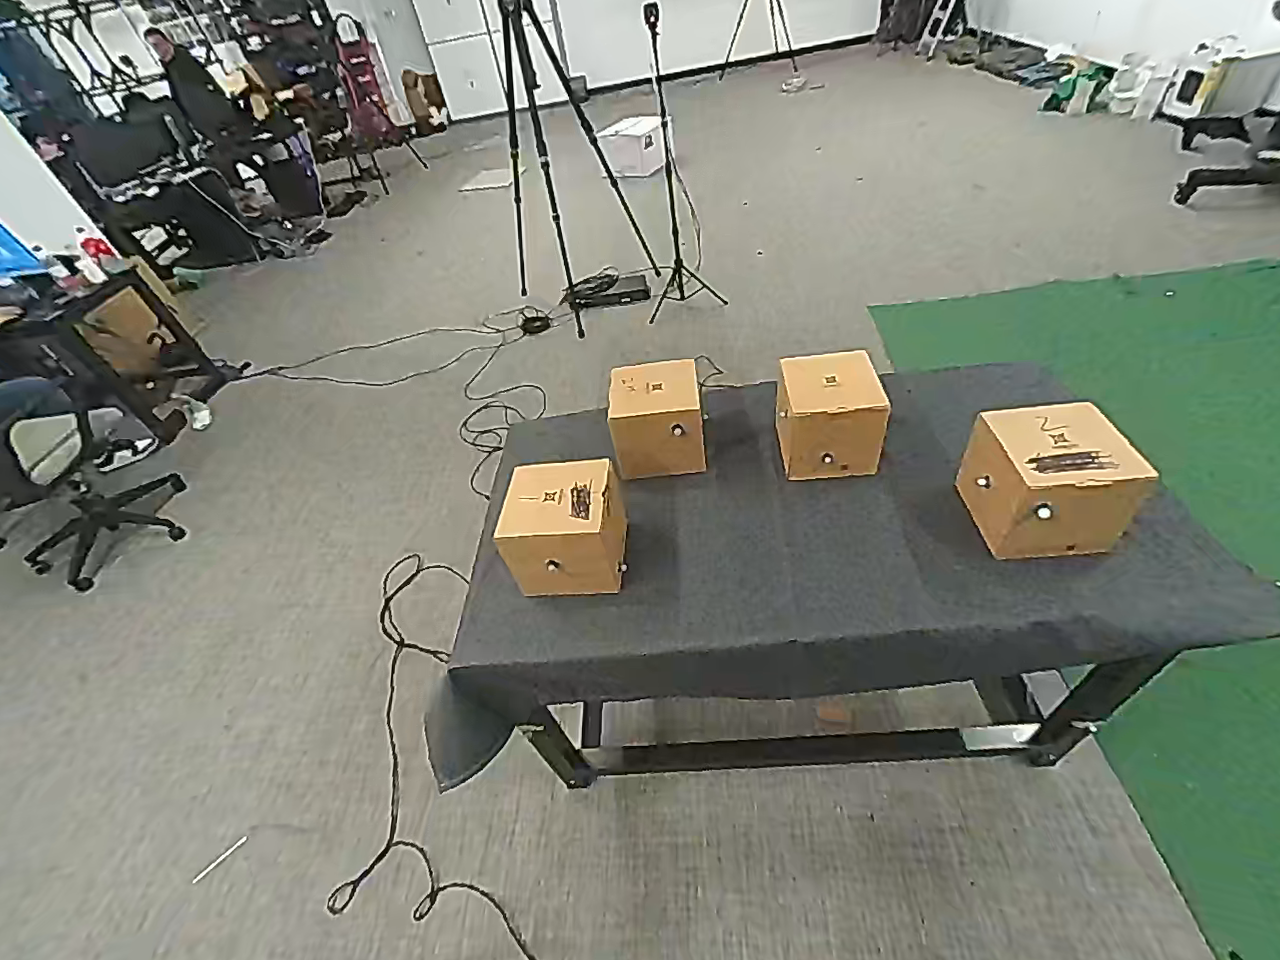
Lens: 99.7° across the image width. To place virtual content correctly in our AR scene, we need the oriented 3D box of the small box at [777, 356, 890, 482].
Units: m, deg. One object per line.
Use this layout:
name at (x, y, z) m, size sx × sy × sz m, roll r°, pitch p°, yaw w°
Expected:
small box at (0.363, -0.117, 1.049) m, size 0.168 × 0.176 × 0.179 m, roll -4°, pitch 46°, yaw 7°

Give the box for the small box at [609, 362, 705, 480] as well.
small box at (0.041, -0.118, 1.111) m, size 0.179 × 0.176 × 0.168 m, roll -6°, pitch 45°, yaw 7°

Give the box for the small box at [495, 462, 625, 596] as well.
small box at (-0.126, 0.088, 0.943) m, size 0.179 × 0.176 × 0.168 m, roll -4°, pitch 44°, yaw 9°
